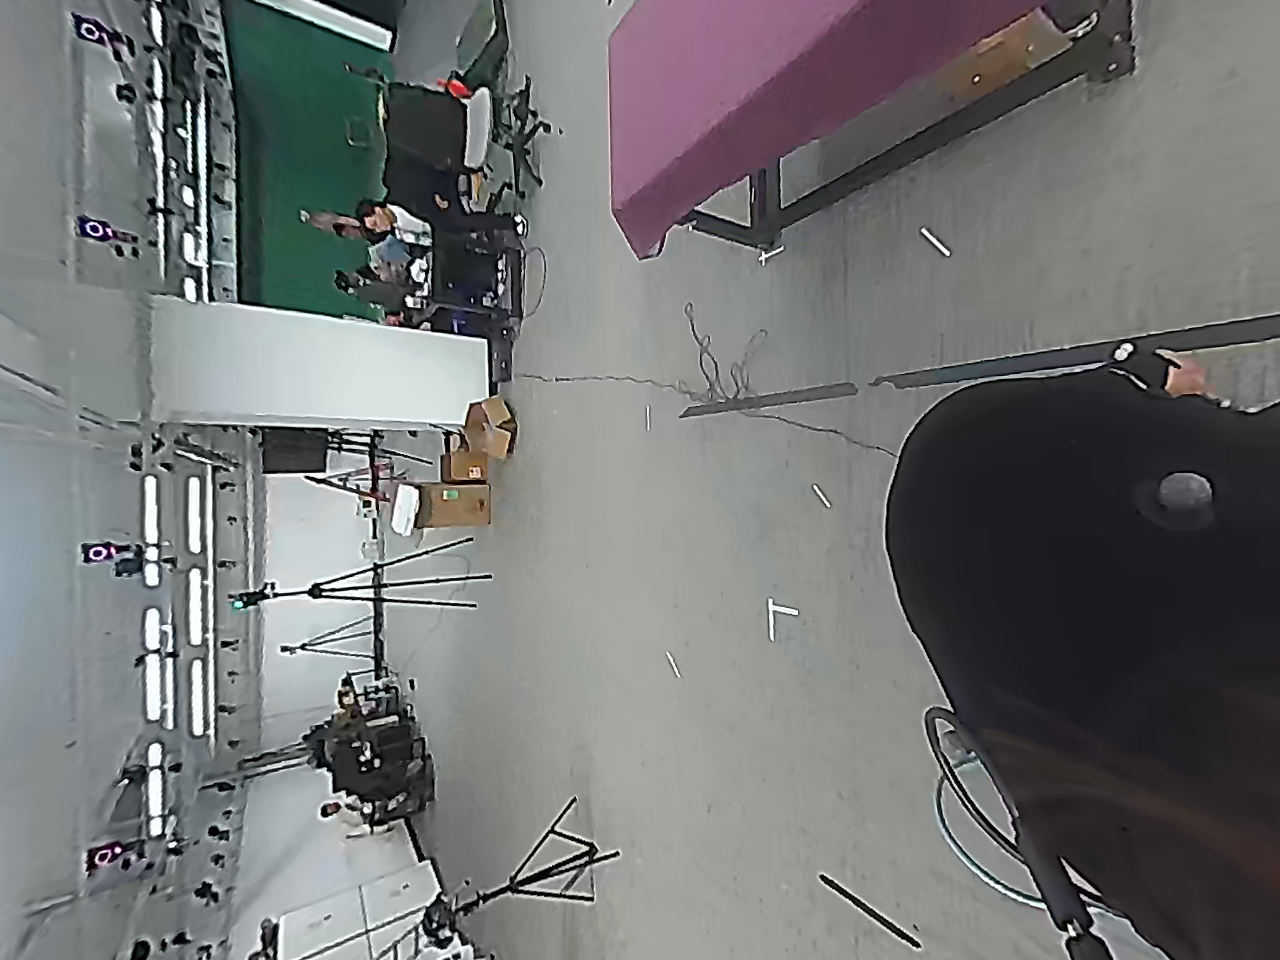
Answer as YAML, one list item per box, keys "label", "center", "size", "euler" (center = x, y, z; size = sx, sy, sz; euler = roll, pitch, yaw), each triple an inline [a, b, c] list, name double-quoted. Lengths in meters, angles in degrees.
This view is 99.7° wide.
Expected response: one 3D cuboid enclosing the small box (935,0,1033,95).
- label: "small box"
  center: [0.927, -1.193, 1.456]
  size: [0.179, 0.176, 0.168]
  euler: [2, 92, 57]
